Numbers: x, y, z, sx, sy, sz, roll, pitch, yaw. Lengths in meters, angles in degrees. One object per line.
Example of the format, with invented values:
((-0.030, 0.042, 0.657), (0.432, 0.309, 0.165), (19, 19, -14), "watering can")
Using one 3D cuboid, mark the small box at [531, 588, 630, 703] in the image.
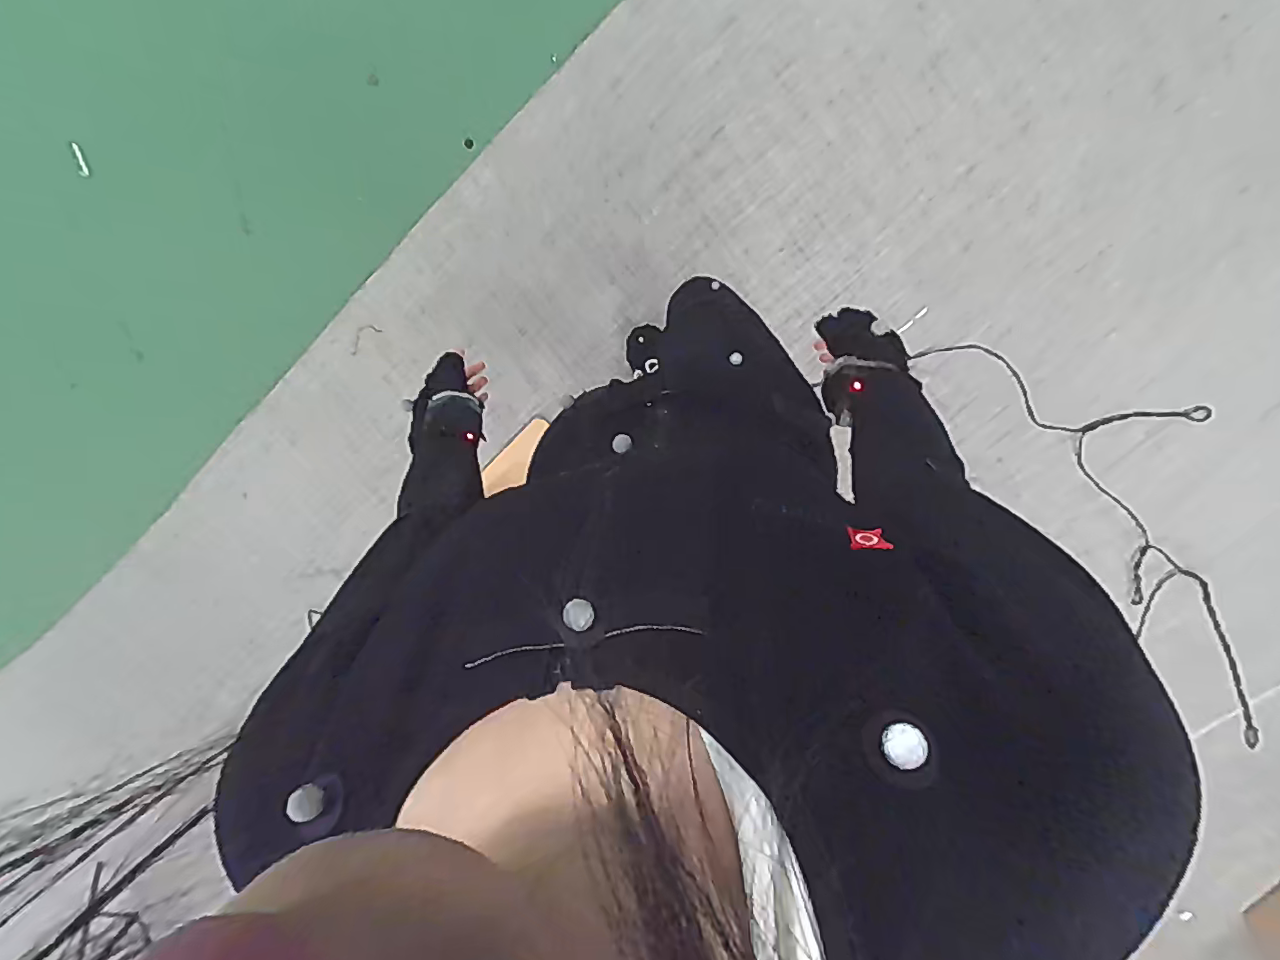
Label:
((-0.139, 0.408, 1.353), (0.179, 0.176, 0.168), (-43, 99, 13), "small box")
